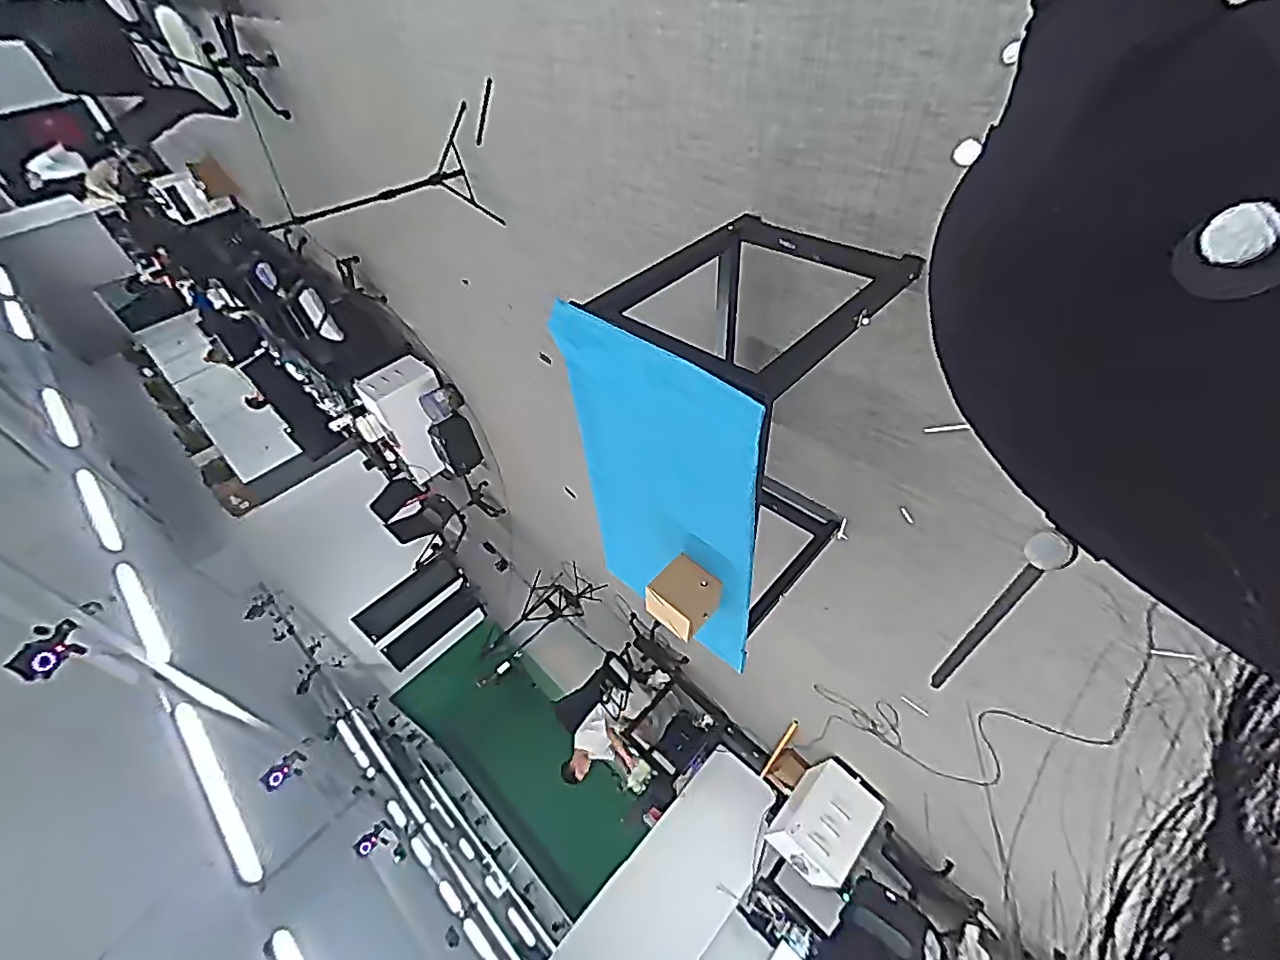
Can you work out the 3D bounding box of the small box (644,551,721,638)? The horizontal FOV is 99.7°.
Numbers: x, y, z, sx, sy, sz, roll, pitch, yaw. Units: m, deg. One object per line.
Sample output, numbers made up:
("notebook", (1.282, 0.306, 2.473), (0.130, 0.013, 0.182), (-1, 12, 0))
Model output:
("small box", (0.134, 0.368, 1.722), (0.179, 0.176, 0.168), (35, 148, 26))
